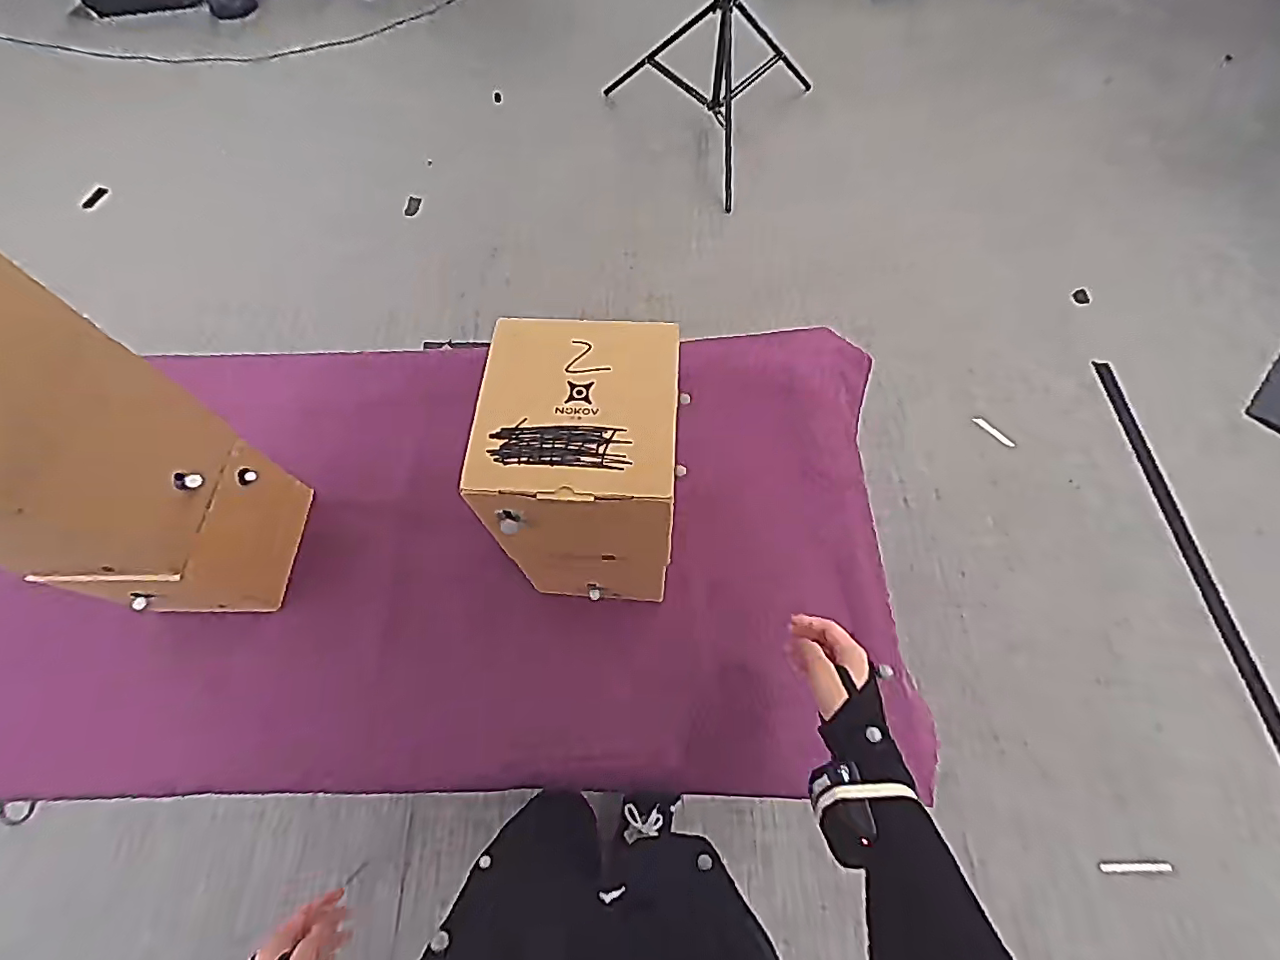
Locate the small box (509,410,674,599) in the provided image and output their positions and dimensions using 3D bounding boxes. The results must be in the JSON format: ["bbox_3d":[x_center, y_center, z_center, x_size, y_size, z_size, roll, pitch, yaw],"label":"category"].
[{"bbox_3d":[-0.048,0.035,0.670,0.168,0.176,0.179,4,65,4],"label":"small box"}]

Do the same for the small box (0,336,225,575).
[{"bbox_3d":[-0.554,-0.018,0.523,0.168,0.176,0.179,-1,64,1],"label":"small box"}]

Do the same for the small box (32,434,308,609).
[{"bbox_3d":[-0.551,0.059,0.668,0.168,0.176,0.179,0,64,1],"label":"small box"}]
